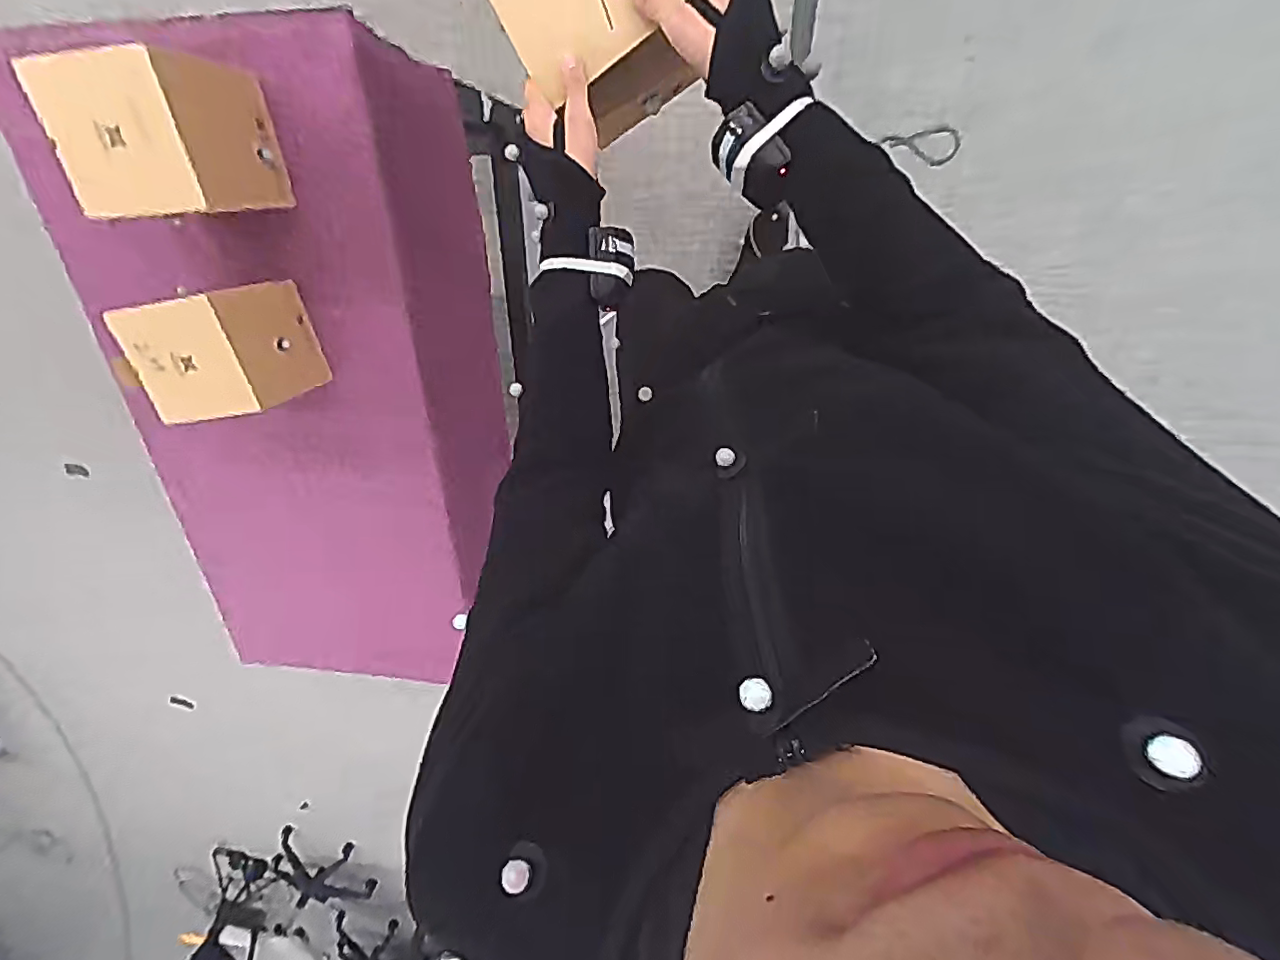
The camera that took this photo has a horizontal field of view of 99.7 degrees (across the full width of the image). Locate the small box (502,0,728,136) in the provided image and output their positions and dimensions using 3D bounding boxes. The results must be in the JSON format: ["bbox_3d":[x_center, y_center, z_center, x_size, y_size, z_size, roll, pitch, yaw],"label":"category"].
[{"bbox_3d":[-0.030,-0.462,0.501,0.168,0.176,0.179,-24,105,21],"label":"small box"}]

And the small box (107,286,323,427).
[{"bbox_3d":[-0.633,-0.196,0.838,0.179,0.176,0.168,-5,115,11],"label":"small box"}]

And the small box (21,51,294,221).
[{"bbox_3d":[-0.612,-0.437,0.714,0.179,0.176,0.168,0,117,9],"label":"small box"}]
